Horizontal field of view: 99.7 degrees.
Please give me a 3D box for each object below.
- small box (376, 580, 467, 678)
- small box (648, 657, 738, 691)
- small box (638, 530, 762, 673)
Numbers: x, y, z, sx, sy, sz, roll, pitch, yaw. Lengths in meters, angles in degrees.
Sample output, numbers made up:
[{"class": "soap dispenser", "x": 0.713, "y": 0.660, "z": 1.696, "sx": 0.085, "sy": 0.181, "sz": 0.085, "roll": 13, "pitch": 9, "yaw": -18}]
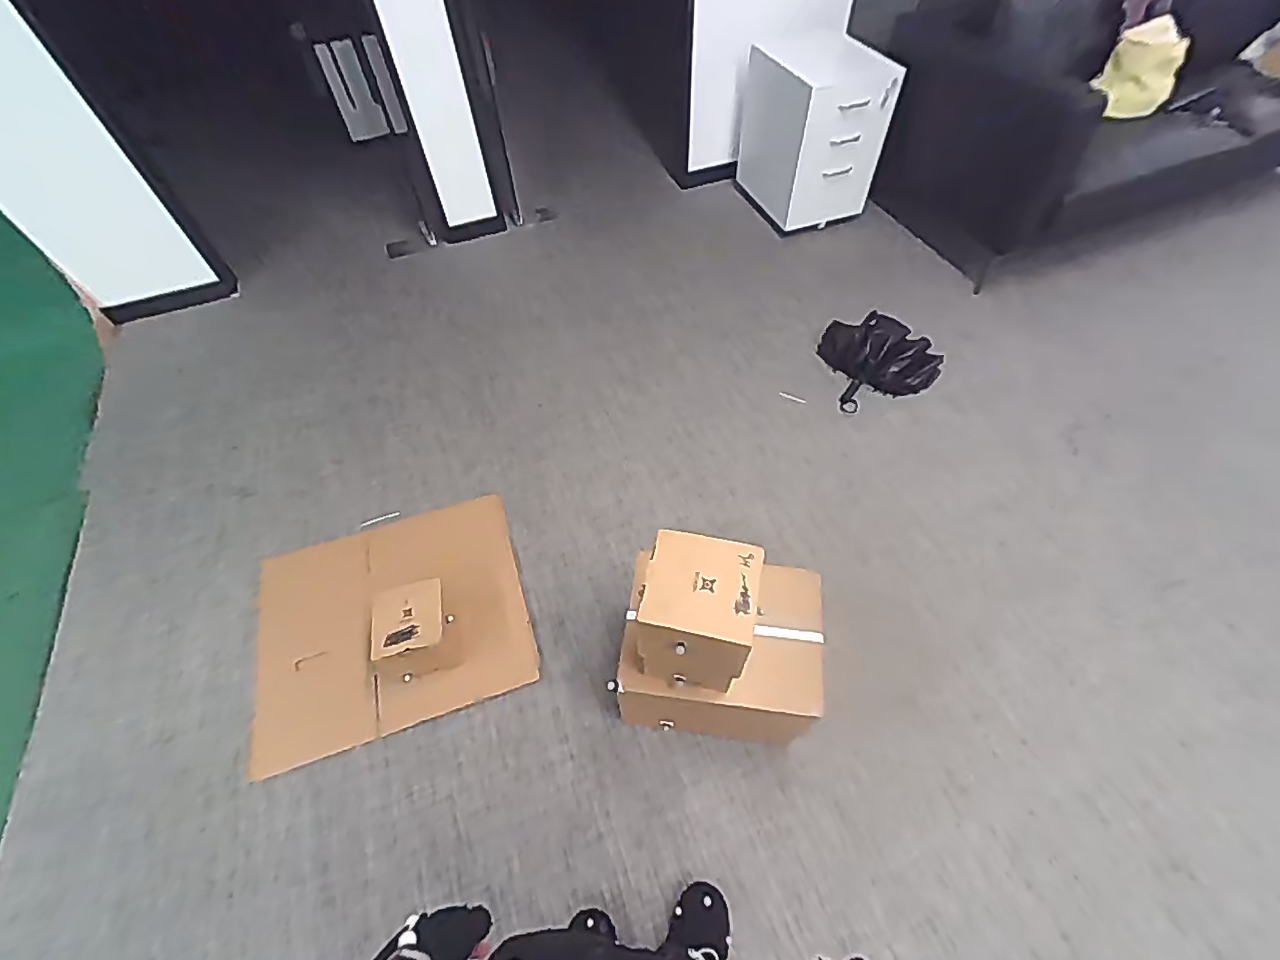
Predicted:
[{"class": "small box", "x": -0.543, "y": 0.381, "z": 1.360, "sx": 0.168, "sy": 0.176, "sz": 0.179, "roll": -13, "pitch": 53, "yaw": -6}, {"class": "small box", "x": 0.107, "y": 0.287, "z": 1.042, "sx": 0.168, "sy": 0.176, "sz": 0.179, "roll": 6, "pitch": 57, "yaw": 9}, {"class": "small box", "x": 0.100, "y": 0.206, "z": 0.902, "sx": 0.179, "sy": 0.176, "sz": 0.168, "roll": 7, "pitch": 54, "yaw": 8}]
